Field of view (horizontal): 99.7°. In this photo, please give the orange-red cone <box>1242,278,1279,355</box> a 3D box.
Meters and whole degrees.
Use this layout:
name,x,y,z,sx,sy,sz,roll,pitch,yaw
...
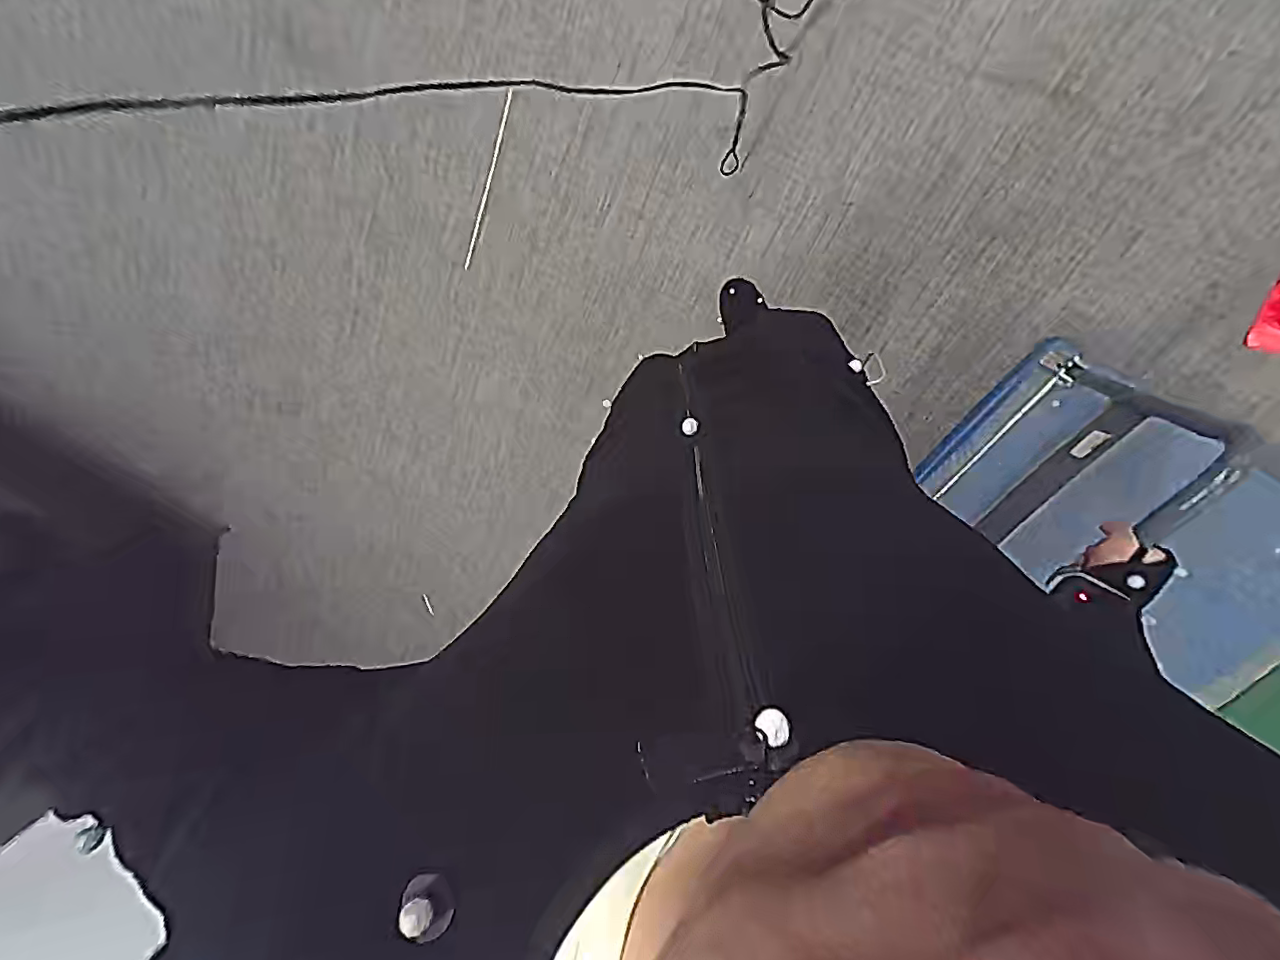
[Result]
name,x,y,z,sx,sy,sz,roll,pitch,yaw
orange-red cone,1.403,-0.298,1.002,0.198,0.360,0.199,16,113,9
